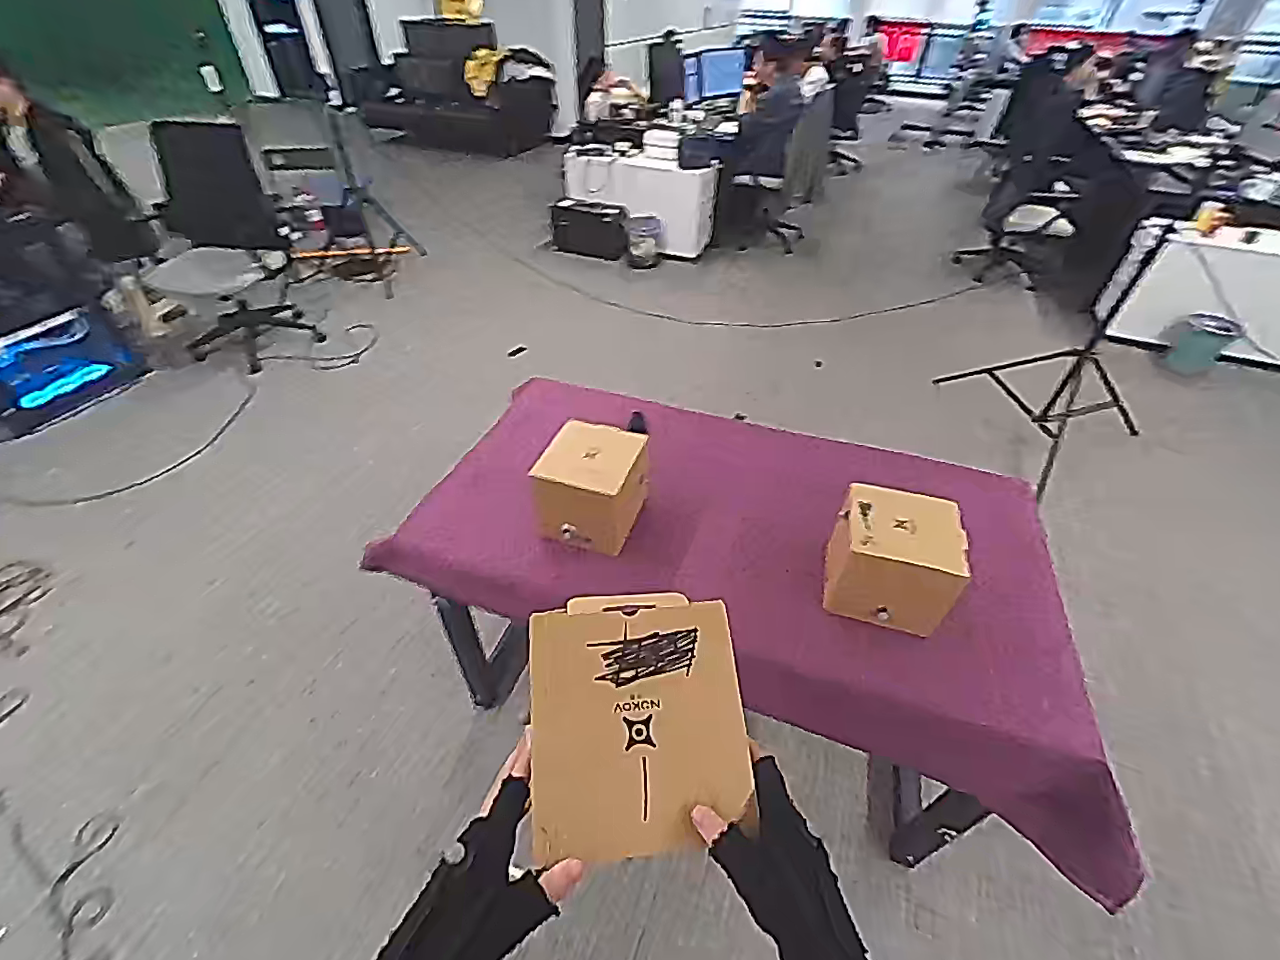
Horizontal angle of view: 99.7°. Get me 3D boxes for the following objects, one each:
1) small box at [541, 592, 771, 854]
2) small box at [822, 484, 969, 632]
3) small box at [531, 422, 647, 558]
[{"bbox_3d":[-0.003,0.211,0.484,0.168,0.176,0.179,-2,63,-8],"label":"small box"},{"bbox_3d":[0.426,0.136,0.926,0.179,0.176,0.168,13,43,11],"label":"small box"},{"bbox_3d":[-0.092,0.018,1.038,0.168,0.176,0.179,13,44,13],"label":"small box"}]
